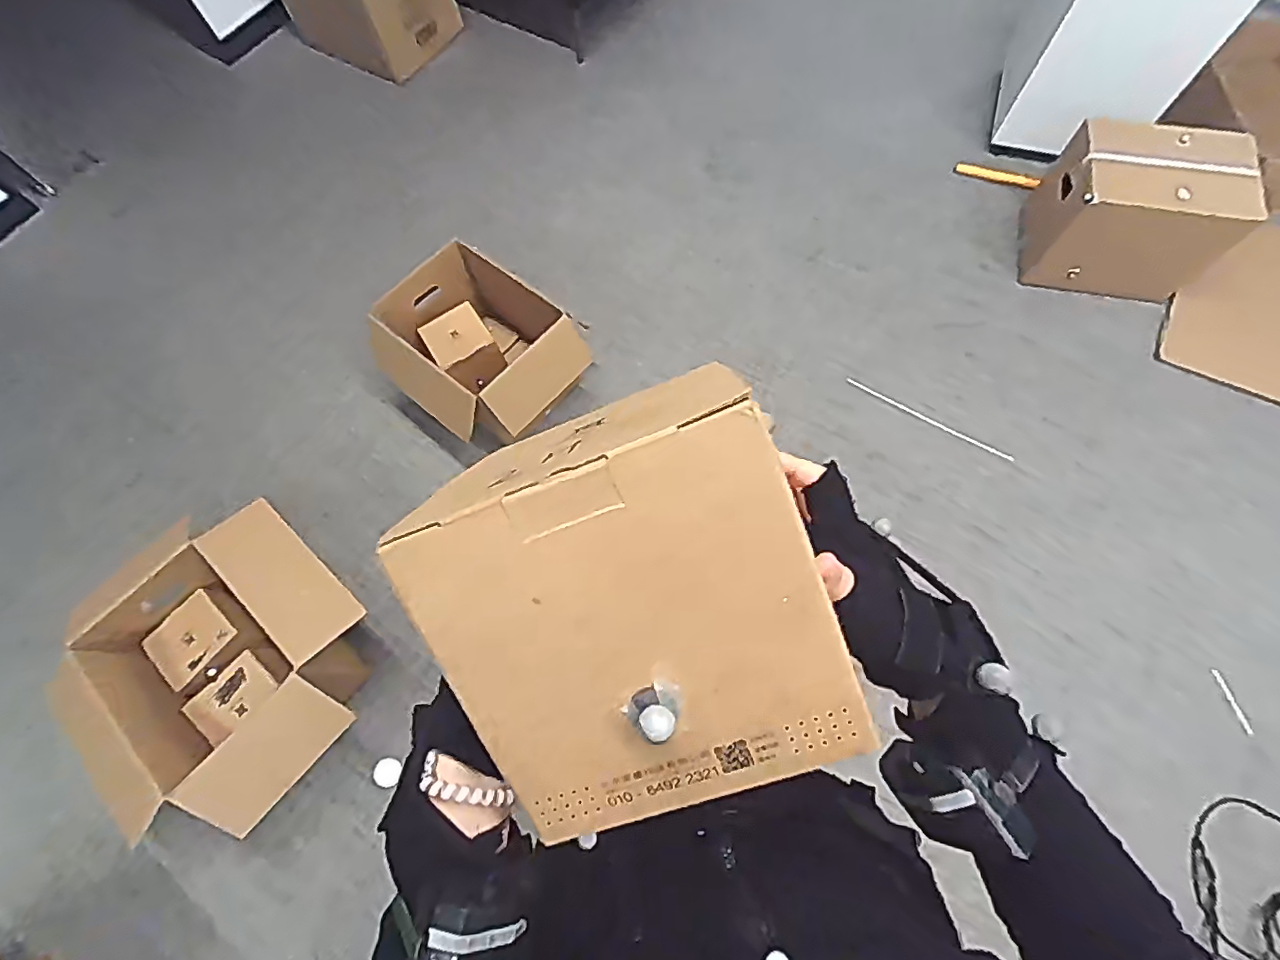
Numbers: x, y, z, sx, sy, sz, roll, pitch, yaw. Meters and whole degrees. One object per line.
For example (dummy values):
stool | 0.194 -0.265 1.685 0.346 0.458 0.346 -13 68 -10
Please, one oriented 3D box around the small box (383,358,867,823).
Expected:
small box | 0.003 0.044 0.308 0.168 0.179 0.176 -21 104 9
